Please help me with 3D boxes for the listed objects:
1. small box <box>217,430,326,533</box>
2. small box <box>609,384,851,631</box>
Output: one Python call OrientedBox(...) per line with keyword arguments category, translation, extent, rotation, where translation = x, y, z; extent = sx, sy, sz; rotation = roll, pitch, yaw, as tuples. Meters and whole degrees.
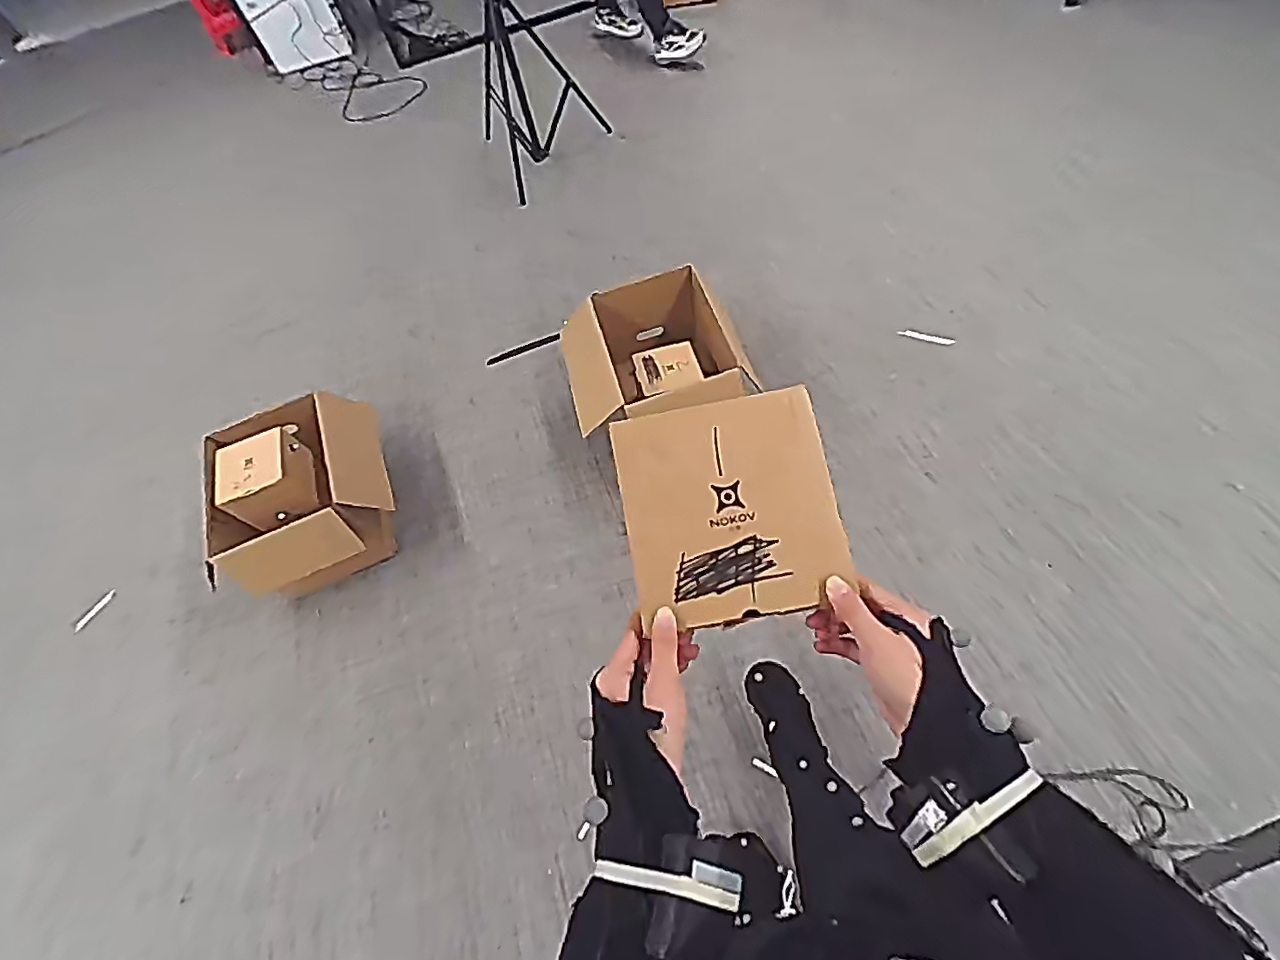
OrientedBox(category="small box", translation=(-0.944, 0.008, 1.396), extent=(0.168, 0.176, 0.179), rotation=(-23, 60, -4))
OrientedBox(category="small box", translation=(0.074, 0.035, 0.504), extent=(0.168, 0.176, 0.179), rotation=(-10, 77, 3))
